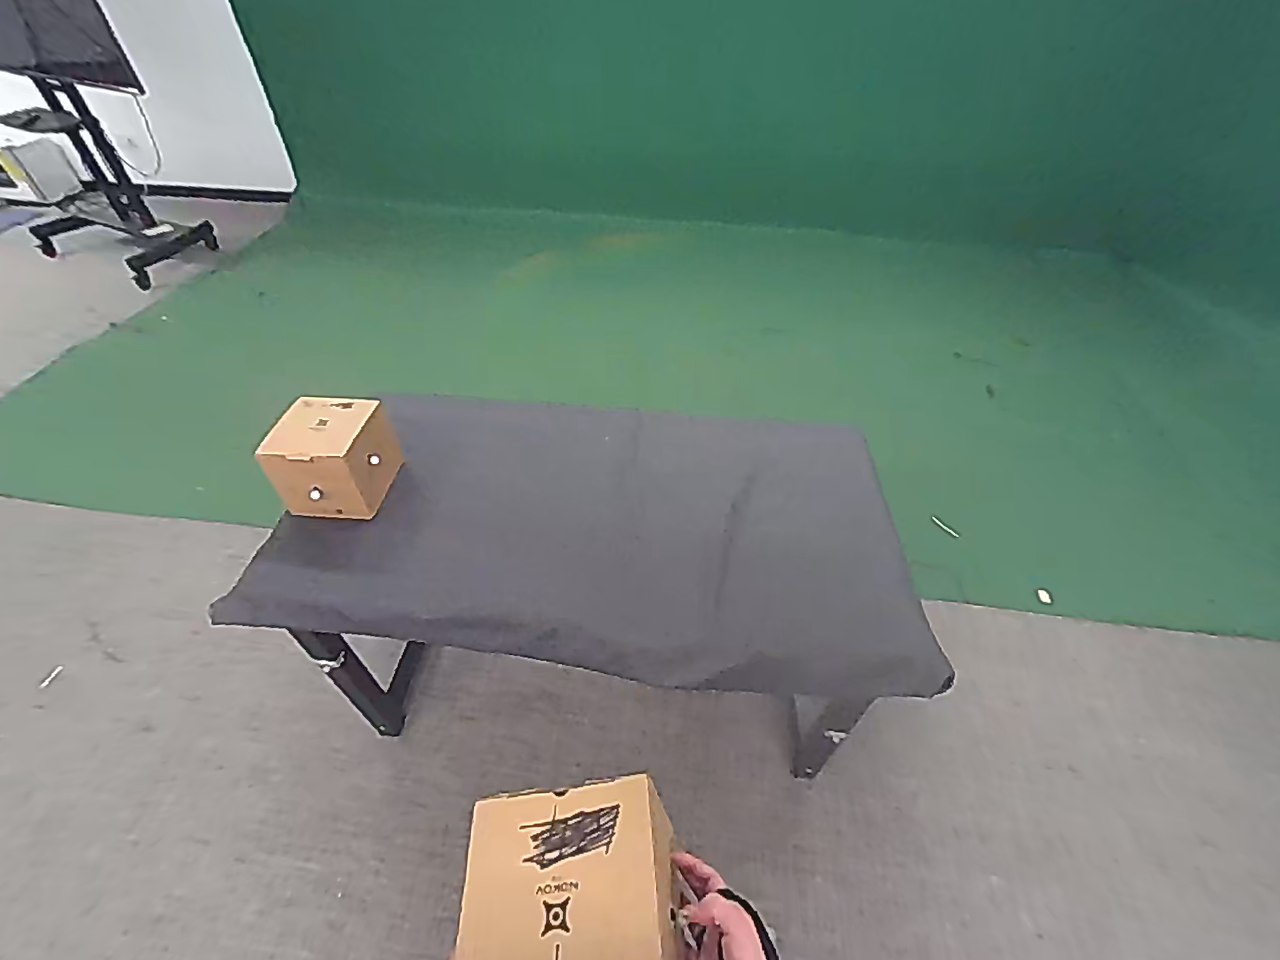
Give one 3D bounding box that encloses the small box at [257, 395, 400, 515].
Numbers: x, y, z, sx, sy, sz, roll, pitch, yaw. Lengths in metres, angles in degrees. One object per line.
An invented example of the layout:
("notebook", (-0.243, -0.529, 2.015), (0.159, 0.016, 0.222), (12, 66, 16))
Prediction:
("small box", (-0.605, -0.047, 1.082), (0.168, 0.176, 0.179), (4, 46, 0))
